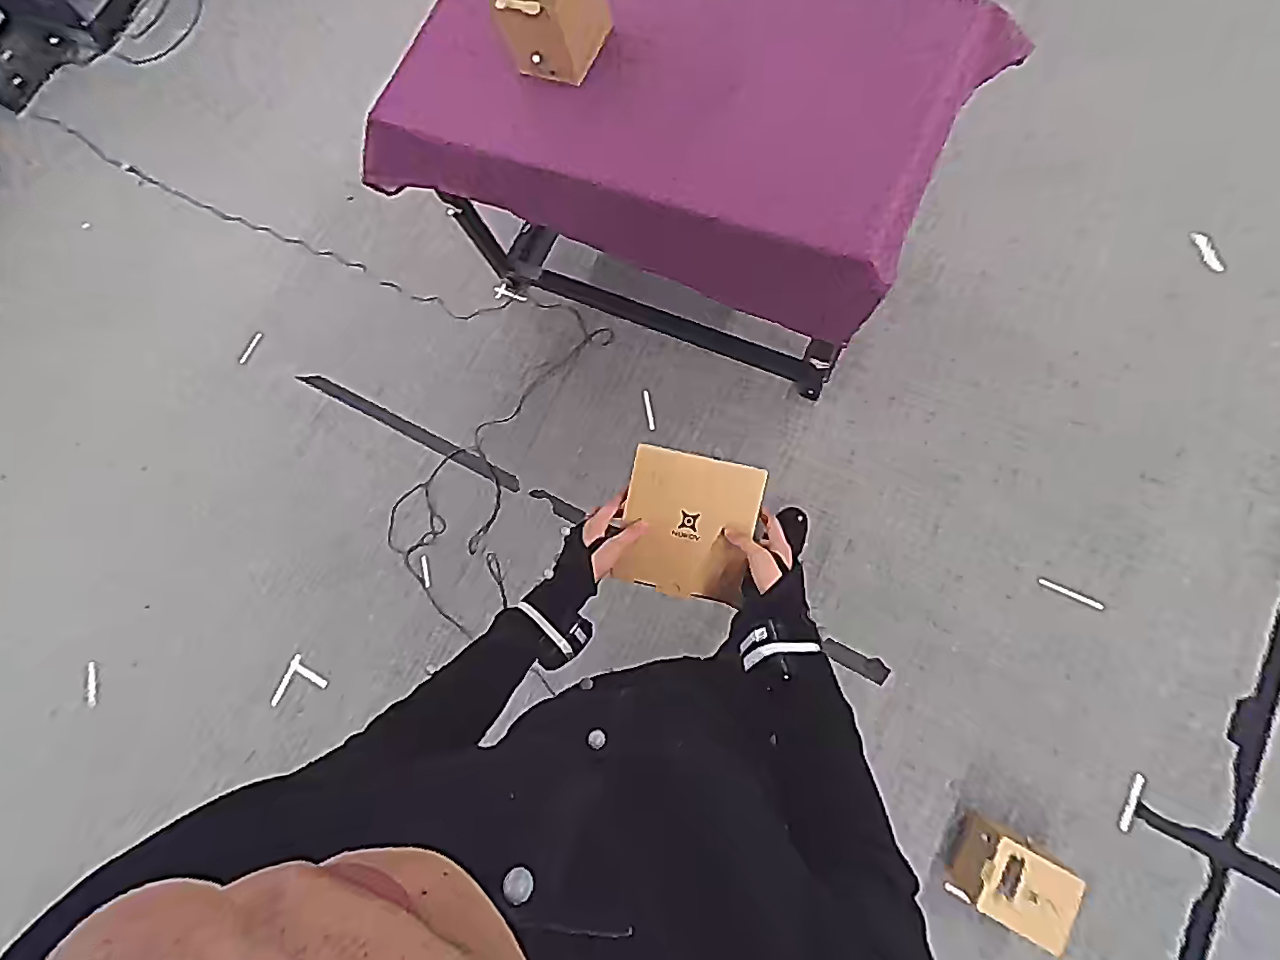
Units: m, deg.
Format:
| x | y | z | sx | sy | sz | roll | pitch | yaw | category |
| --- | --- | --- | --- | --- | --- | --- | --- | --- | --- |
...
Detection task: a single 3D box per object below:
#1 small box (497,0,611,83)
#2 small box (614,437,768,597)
| x | y | z | sx | sy | sz | roll | pitch | yaw | category |
| --- | --- | --- | --- | --- | --- | --- | --- | --- | --- |
| -0.174 | -0.988 | 1.130 | 0.168 | 0.176 | 0.179 | 24 | 83 | 16 | small box |
| 0.067 | 0.041 | 0.751 | 0.168 | 0.176 | 0.179 | 11 | 95 | 3 | small box |
